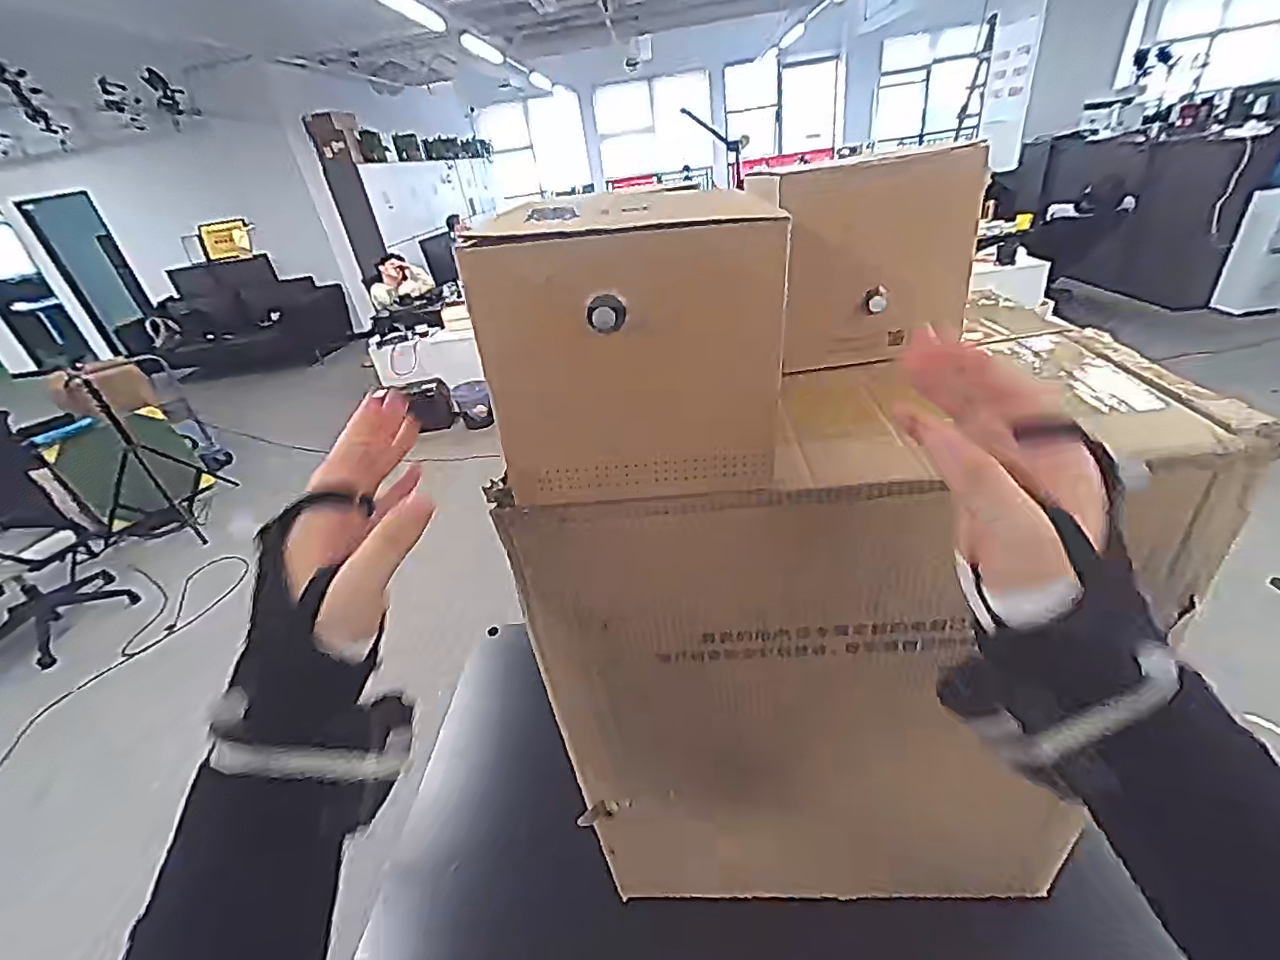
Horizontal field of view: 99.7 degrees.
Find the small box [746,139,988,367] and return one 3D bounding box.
[{"bbox_3d":[0.202,-0.221,0.535,0.168,0.176,0.179,-8,29,4],"label":"small box"}]

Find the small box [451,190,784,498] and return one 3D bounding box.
[{"bbox_3d":[-0.005,-0.099,0.381,0.179,0.176,0.168,-4,32,2],"label":"small box"}]
